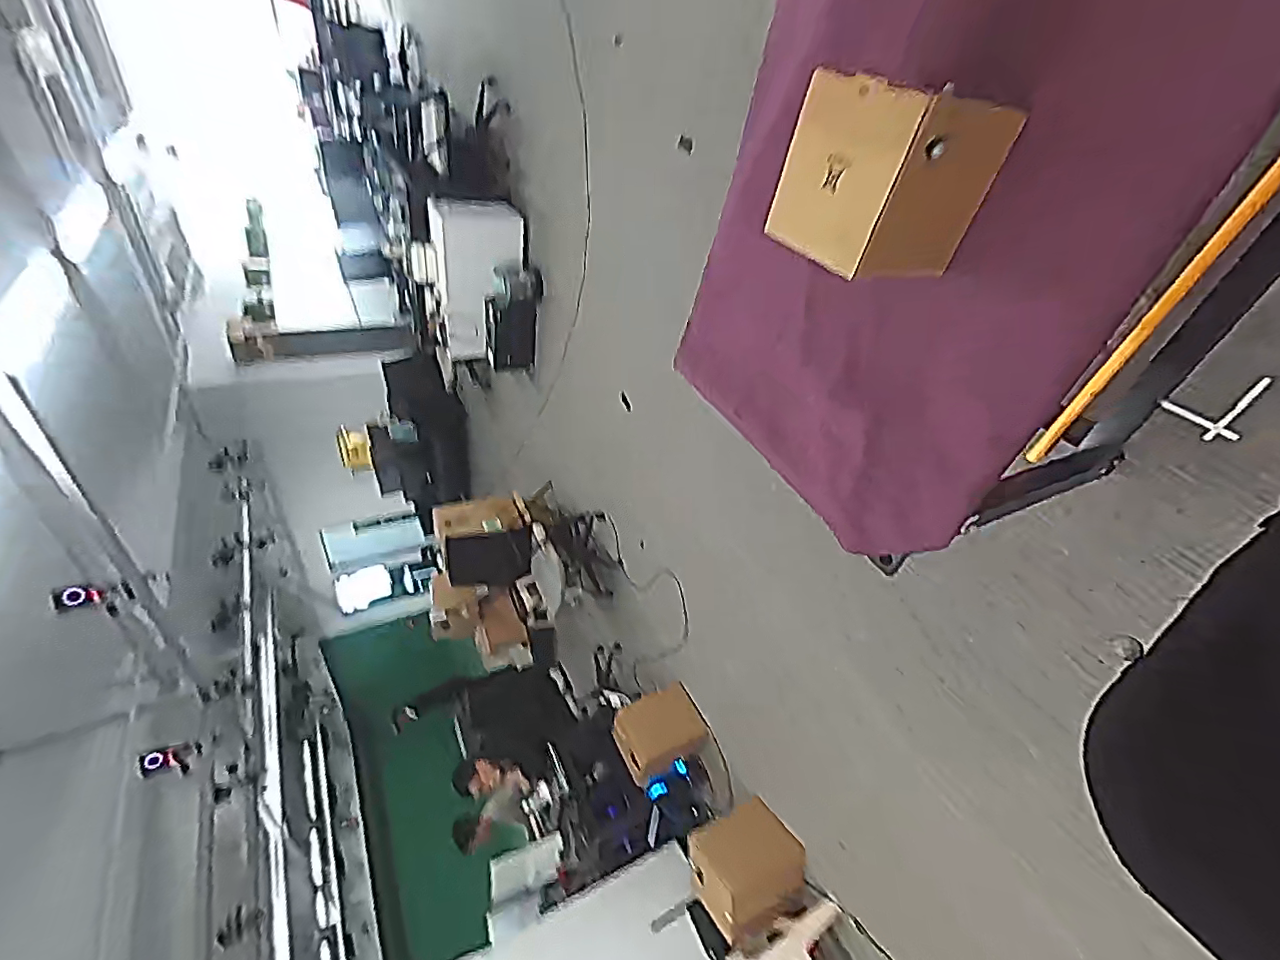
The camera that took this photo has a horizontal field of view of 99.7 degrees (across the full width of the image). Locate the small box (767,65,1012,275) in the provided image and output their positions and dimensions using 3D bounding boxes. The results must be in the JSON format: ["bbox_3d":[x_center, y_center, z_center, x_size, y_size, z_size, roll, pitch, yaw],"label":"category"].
[{"bbox_3d":[0.287,-0.360,0.640,0.168,0.176,0.179,54,144,39],"label":"small box"}]
